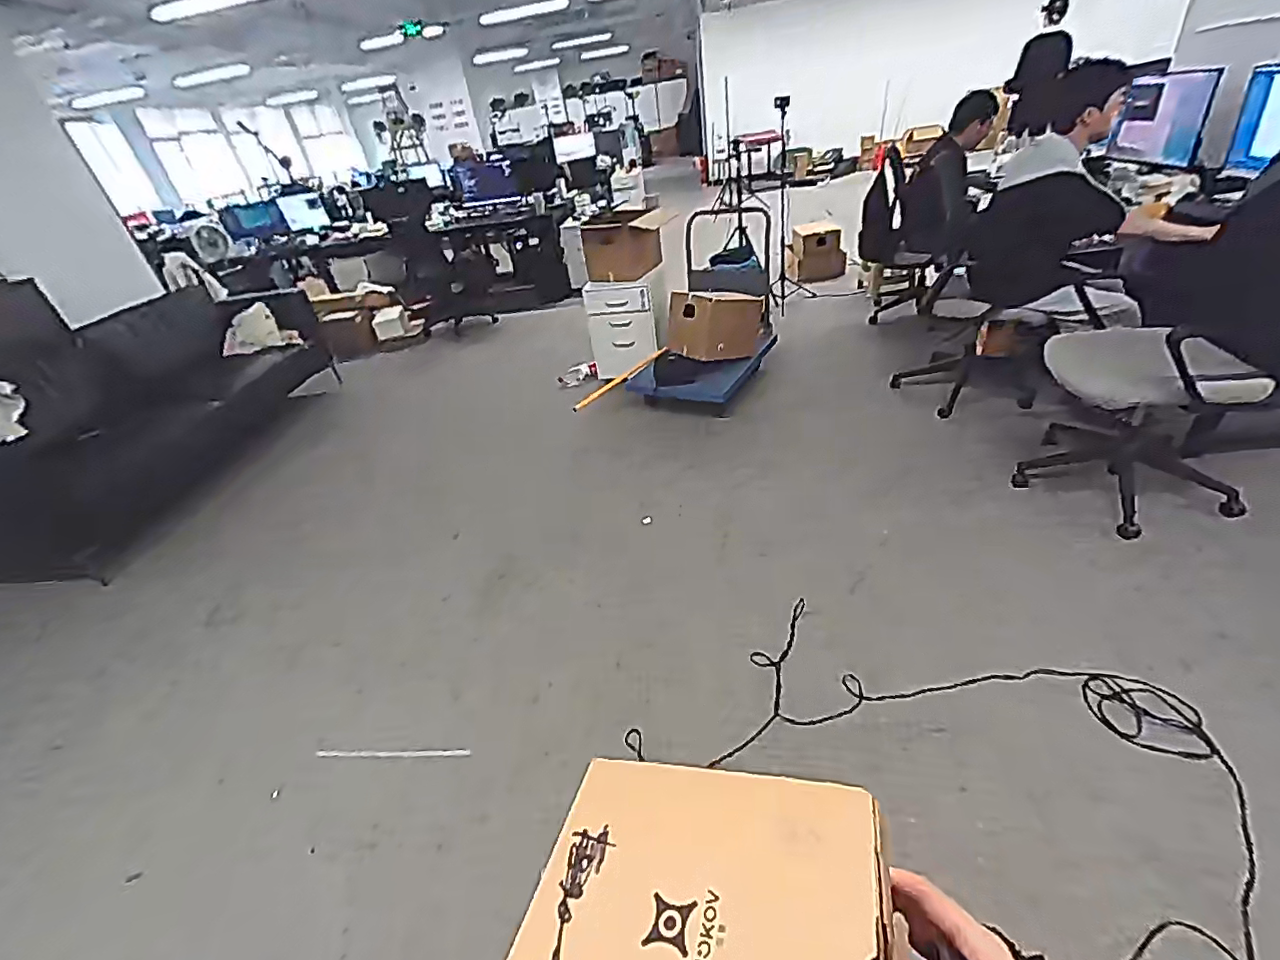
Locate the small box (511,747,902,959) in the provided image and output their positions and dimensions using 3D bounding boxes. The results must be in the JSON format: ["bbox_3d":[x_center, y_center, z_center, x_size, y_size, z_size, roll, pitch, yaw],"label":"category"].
[{"bbox_3d":[0.047,0.283,0.293,0.179,0.176,0.168,-4,26,24],"label":"small box"}]
